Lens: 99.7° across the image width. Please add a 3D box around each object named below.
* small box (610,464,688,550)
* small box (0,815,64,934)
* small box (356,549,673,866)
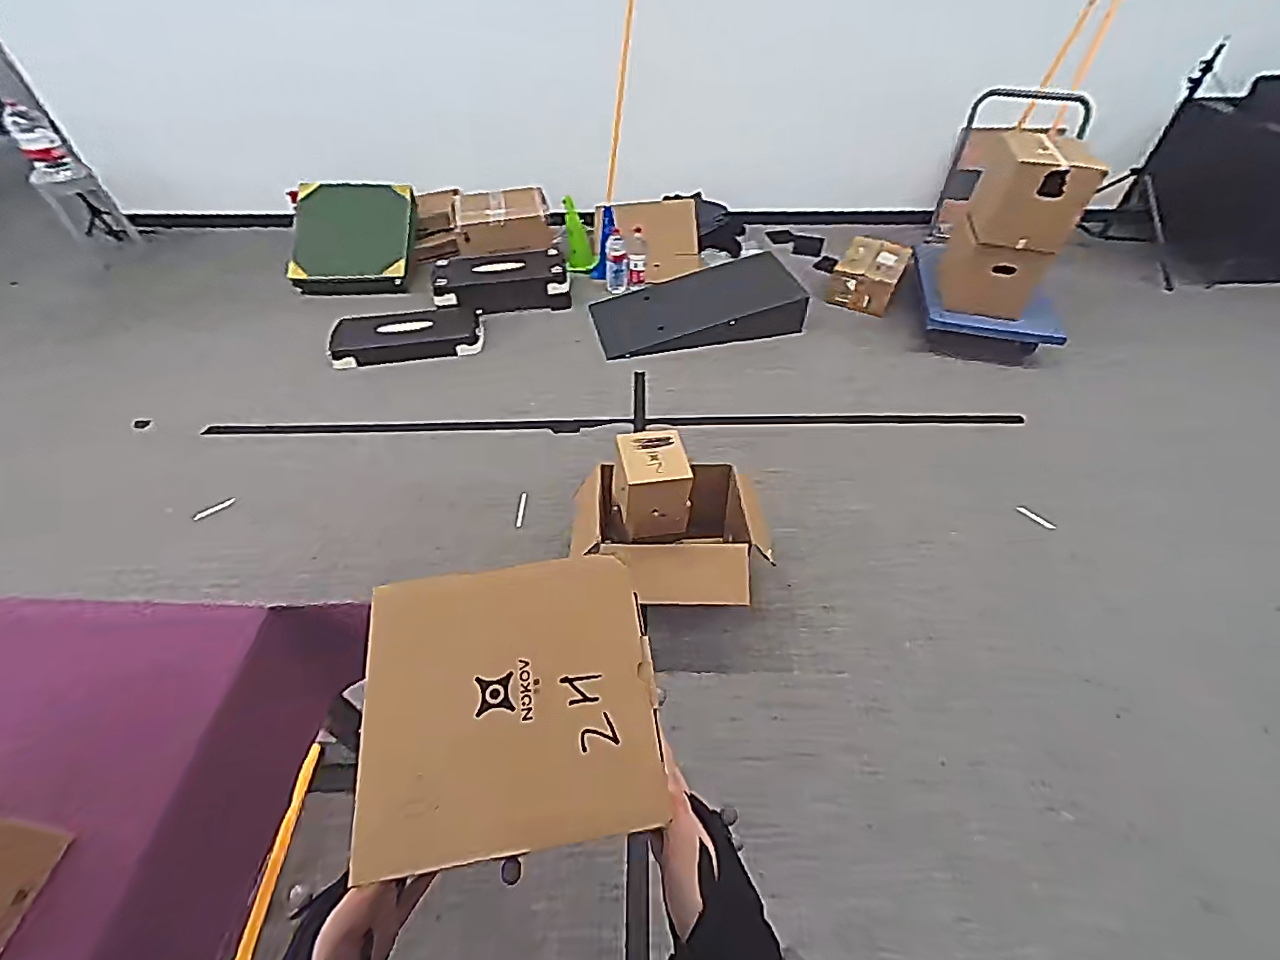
[{"bbox_3d":[0.020,0.083,1.575,0.179,0.176,0.168,-14,52,-17],"label":"small box"},{"bbox_3d":[-0.758,0.418,0.530,0.179,0.176,0.168,2,48,3],"label":"small box"},{"bbox_3d":[-0.077,0.167,0.401,0.179,0.176,0.168,-7,61,-5],"label":"small box"}]
